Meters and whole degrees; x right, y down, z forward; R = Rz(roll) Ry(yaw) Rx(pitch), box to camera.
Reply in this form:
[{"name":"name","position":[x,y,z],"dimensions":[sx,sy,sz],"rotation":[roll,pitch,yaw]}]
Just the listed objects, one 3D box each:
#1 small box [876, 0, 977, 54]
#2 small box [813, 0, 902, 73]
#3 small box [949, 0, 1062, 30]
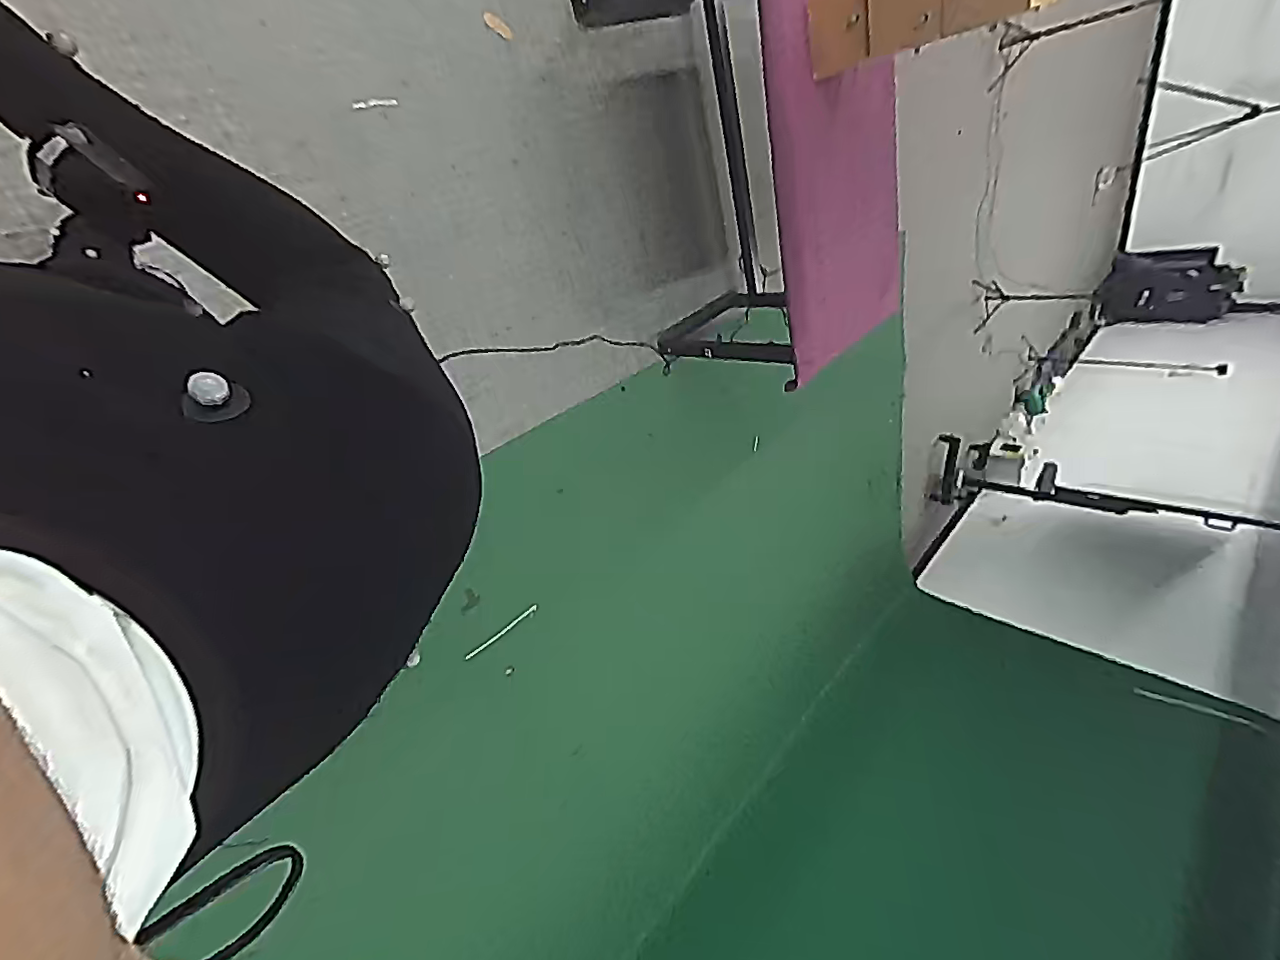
[{"name":"small box","position":[0.655,-1.103,1.233],"dimensions":[0.168,0.176,0.179],"rotation":[-36,125,-30]},{"name":"small box","position":[0.556,-1.152,1.356],"dimensions":[0.168,0.176,0.179],"rotation":[-37,125,-28]},{"name":"small box","position":[0.761,-1.061,1.116],"dimensions":[0.168,0.176,0.179],"rotation":[-36,126,-29]}]
